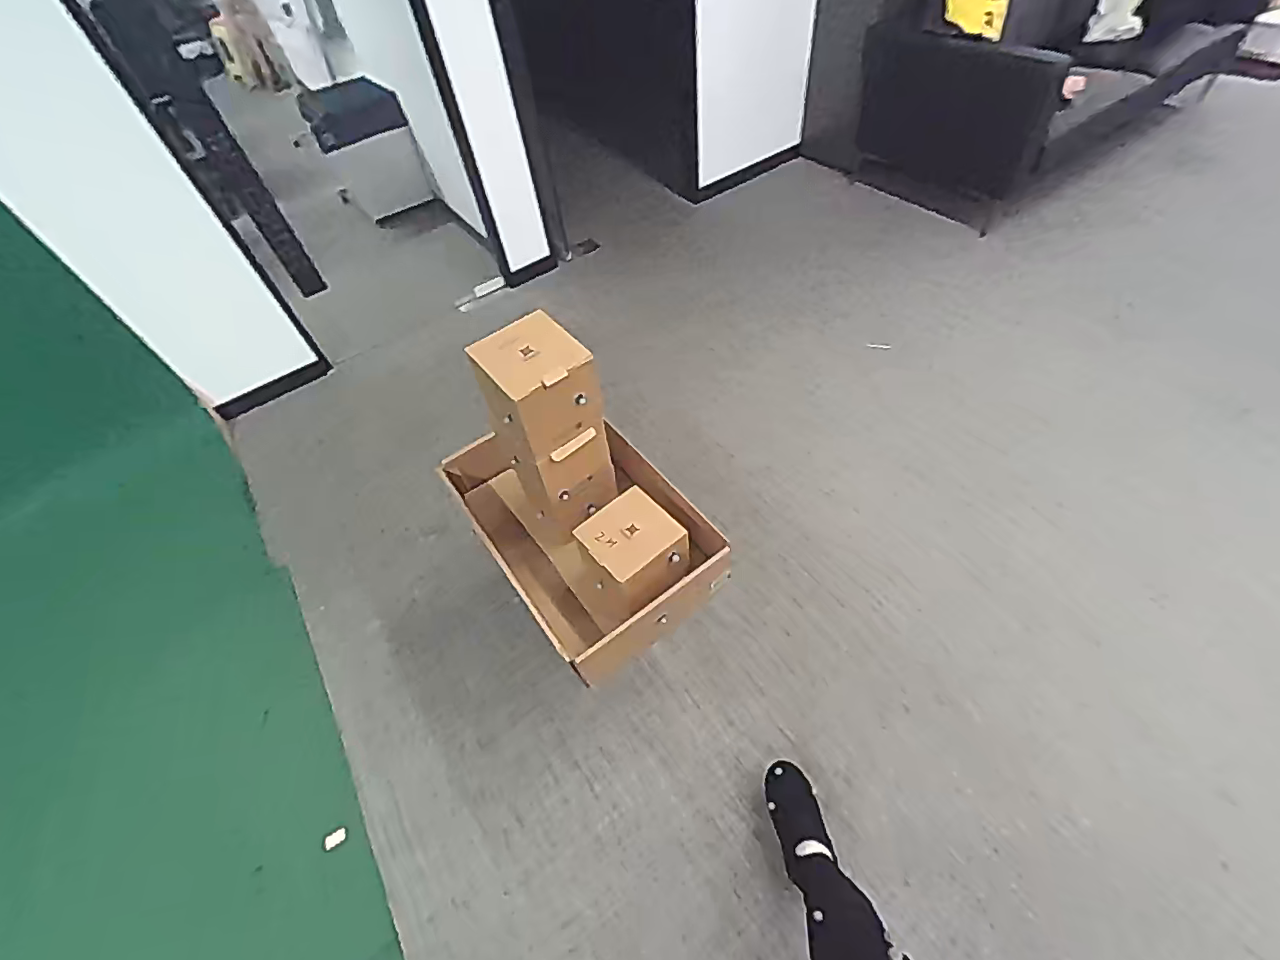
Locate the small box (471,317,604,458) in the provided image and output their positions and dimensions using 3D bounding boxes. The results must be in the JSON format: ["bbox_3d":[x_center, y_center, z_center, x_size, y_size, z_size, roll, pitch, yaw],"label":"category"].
[{"bbox_3d":[-0.183,-0.164,1.014,0.168,0.176,0.179,-34,58,-19],"label":"small box"}]

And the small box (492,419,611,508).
[{"bbox_3d":[-0.178,-0.065,1.143,0.168,0.176,0.179,-37,59,-20],"label":"small box"}]
